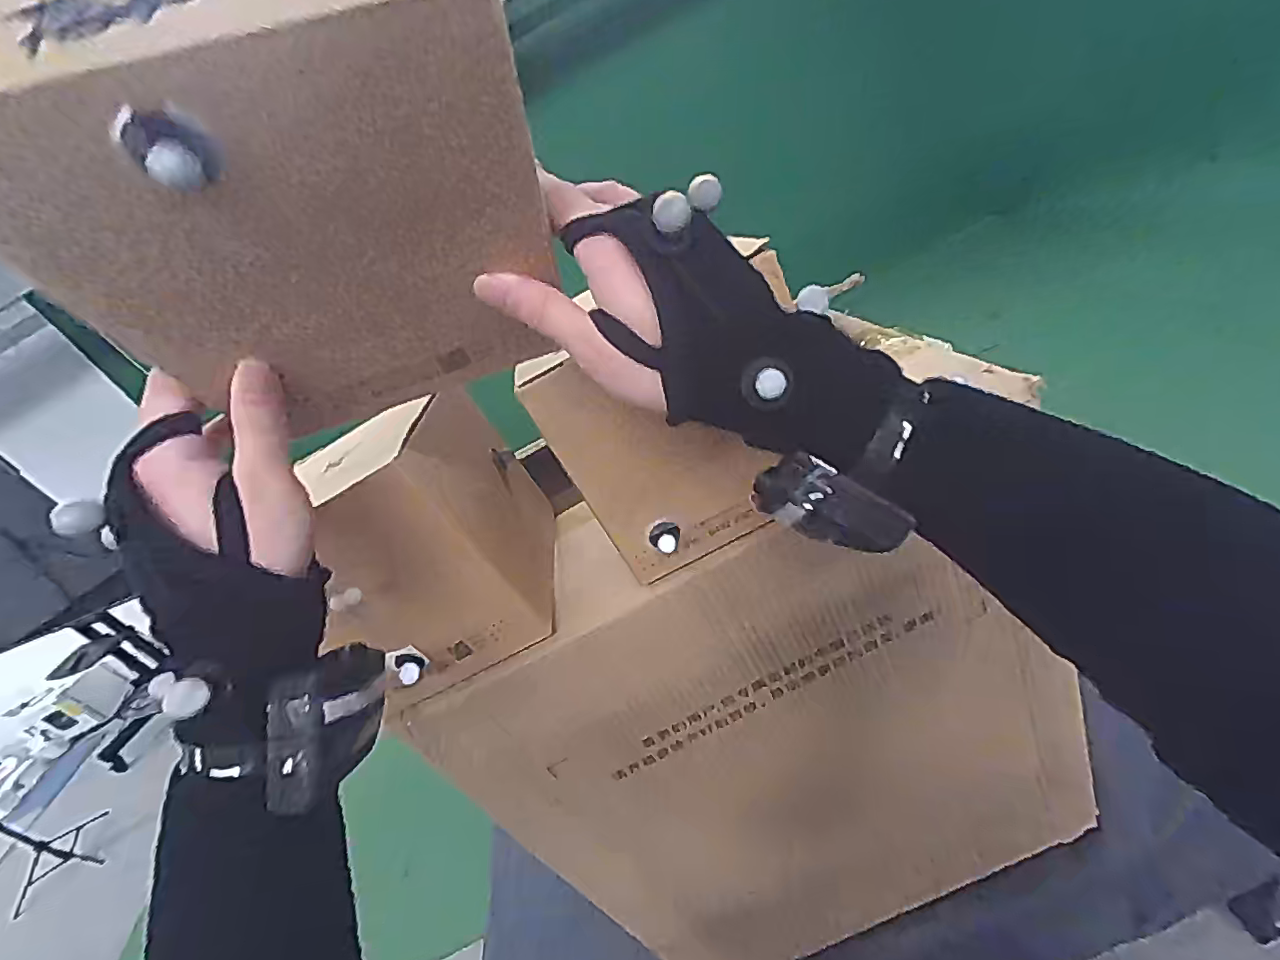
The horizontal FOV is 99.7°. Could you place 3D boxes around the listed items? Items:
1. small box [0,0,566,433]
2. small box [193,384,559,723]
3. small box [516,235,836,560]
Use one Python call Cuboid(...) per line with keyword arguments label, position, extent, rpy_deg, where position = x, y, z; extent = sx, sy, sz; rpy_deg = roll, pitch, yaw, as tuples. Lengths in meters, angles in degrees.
Cuboid(label="small box", position=(-0.145, -0.152, 0.248), extent=(0.168, 0.176, 0.179), rpy_deg=(-21, 66, -8))
Cuboid(label="small box", position=(-0.178, 0.050, 0.431), extent=(0.168, 0.176, 0.179), rpy_deg=(-31, 29, 6))
Cuboid(label="small box", position=(0.022, -0.062, 0.414), extent=(0.168, 0.176, 0.179), rpy_deg=(-28, 27, 3))
